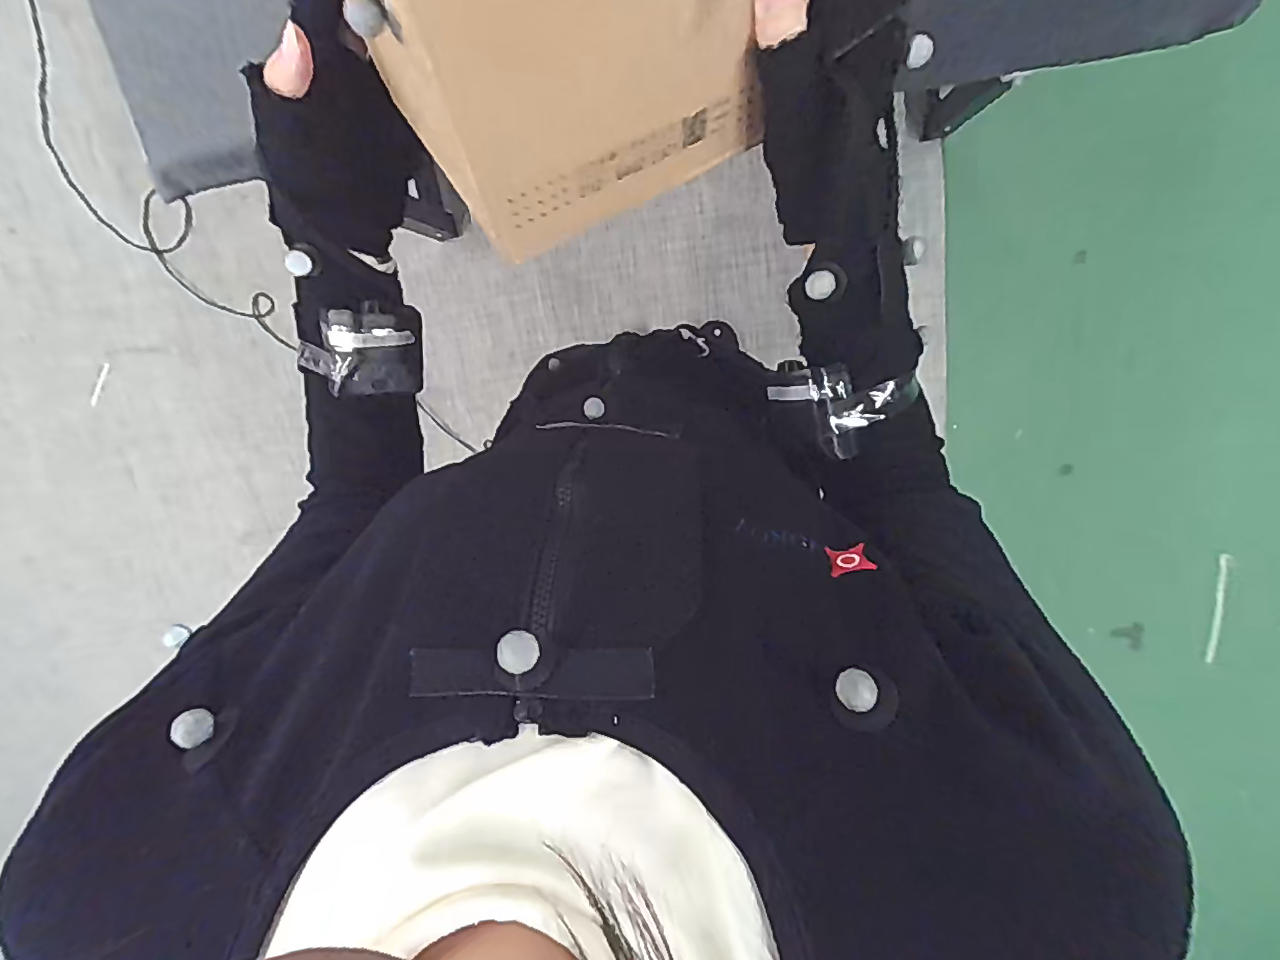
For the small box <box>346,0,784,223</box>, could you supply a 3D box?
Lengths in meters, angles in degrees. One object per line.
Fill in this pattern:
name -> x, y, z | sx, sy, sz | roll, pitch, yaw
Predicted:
small box -> -0.045, -0.246, 0.238 | 0.168, 0.176, 0.179 | -32, 65, -11
